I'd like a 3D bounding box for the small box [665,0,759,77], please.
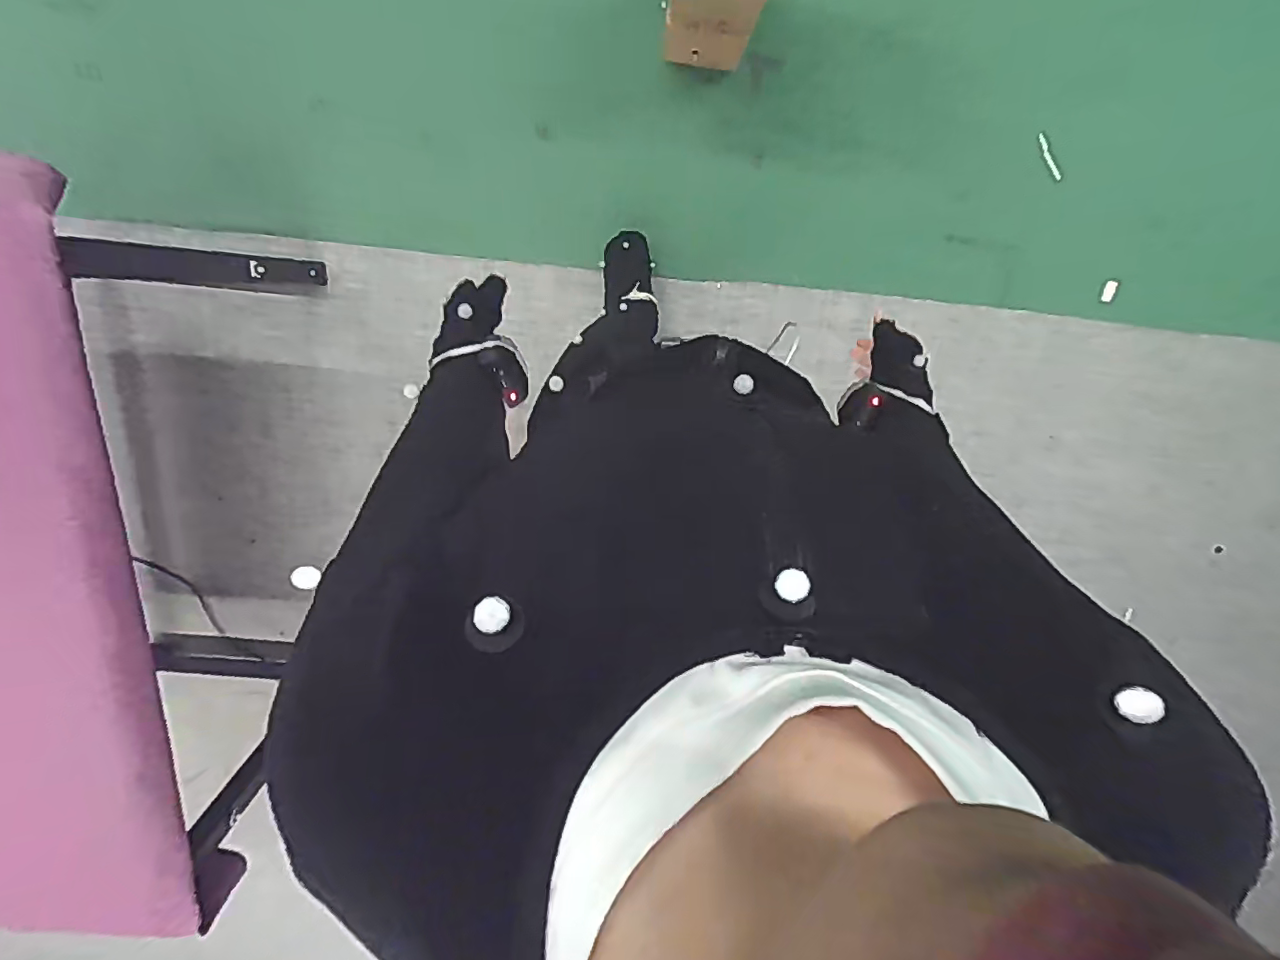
[{"bbox_3d":[0.145,-0.966,1.100,0.168,0.176,0.179,6,108,-3],"label":"small box"}]
